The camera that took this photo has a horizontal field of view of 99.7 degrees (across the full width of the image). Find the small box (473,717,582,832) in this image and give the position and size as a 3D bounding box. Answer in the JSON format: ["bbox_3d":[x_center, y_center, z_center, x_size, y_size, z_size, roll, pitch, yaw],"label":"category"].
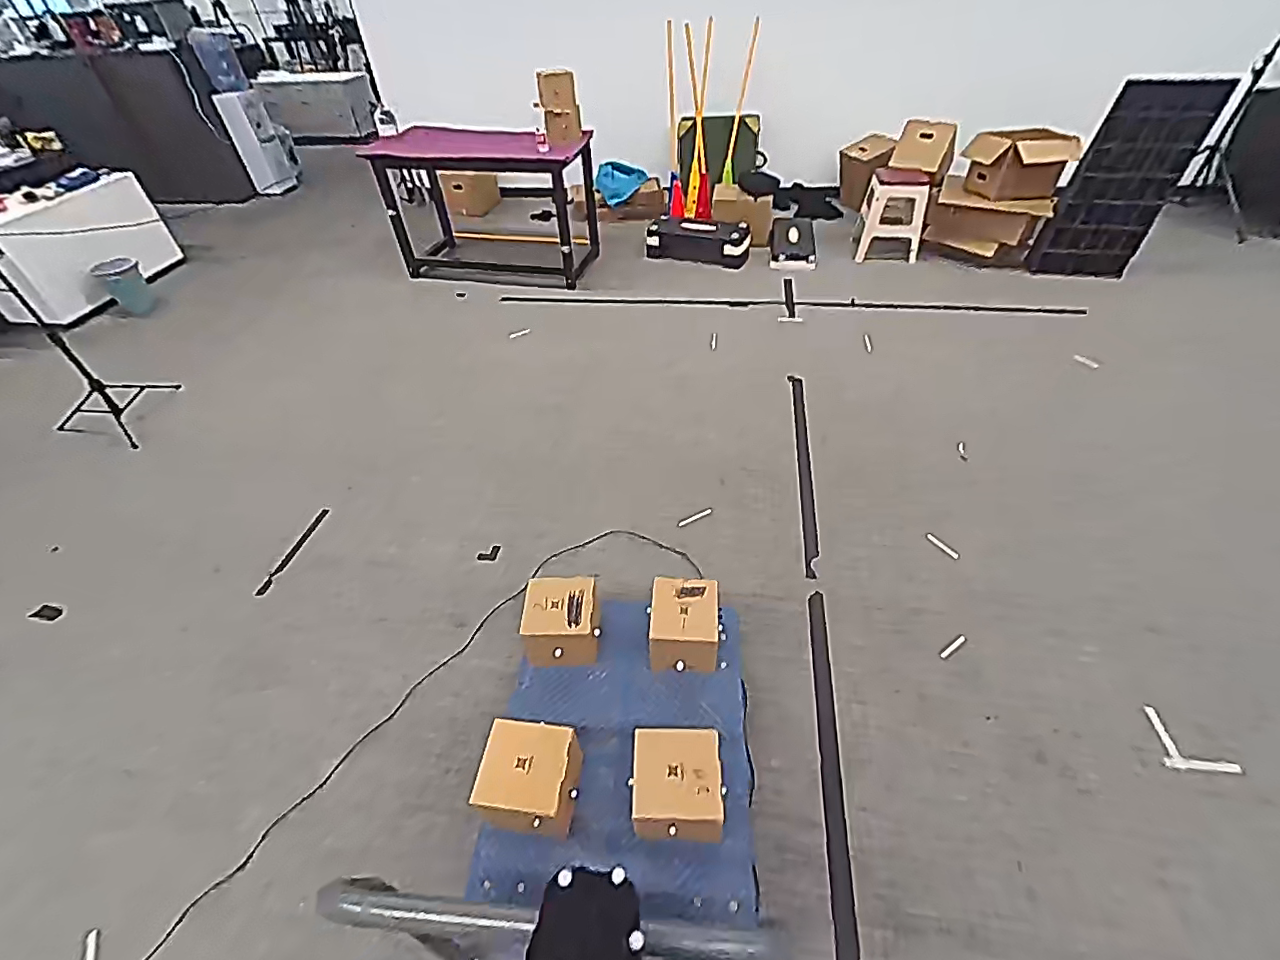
[{"bbox_3d":[-0.229,0.628,1.150,0.179,0.176,0.168,4,44,5],"label":"small box"}]

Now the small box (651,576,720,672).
[{"bbox_3d":[0.117,0.369,1.393,0.168,0.176,0.179,2,46,5],"label":"small box"}]

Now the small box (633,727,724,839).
[{"bbox_3d":[0.080,0.633,1.127,0.179,0.176,0.168,0,45,3],"label":"small box"}]
